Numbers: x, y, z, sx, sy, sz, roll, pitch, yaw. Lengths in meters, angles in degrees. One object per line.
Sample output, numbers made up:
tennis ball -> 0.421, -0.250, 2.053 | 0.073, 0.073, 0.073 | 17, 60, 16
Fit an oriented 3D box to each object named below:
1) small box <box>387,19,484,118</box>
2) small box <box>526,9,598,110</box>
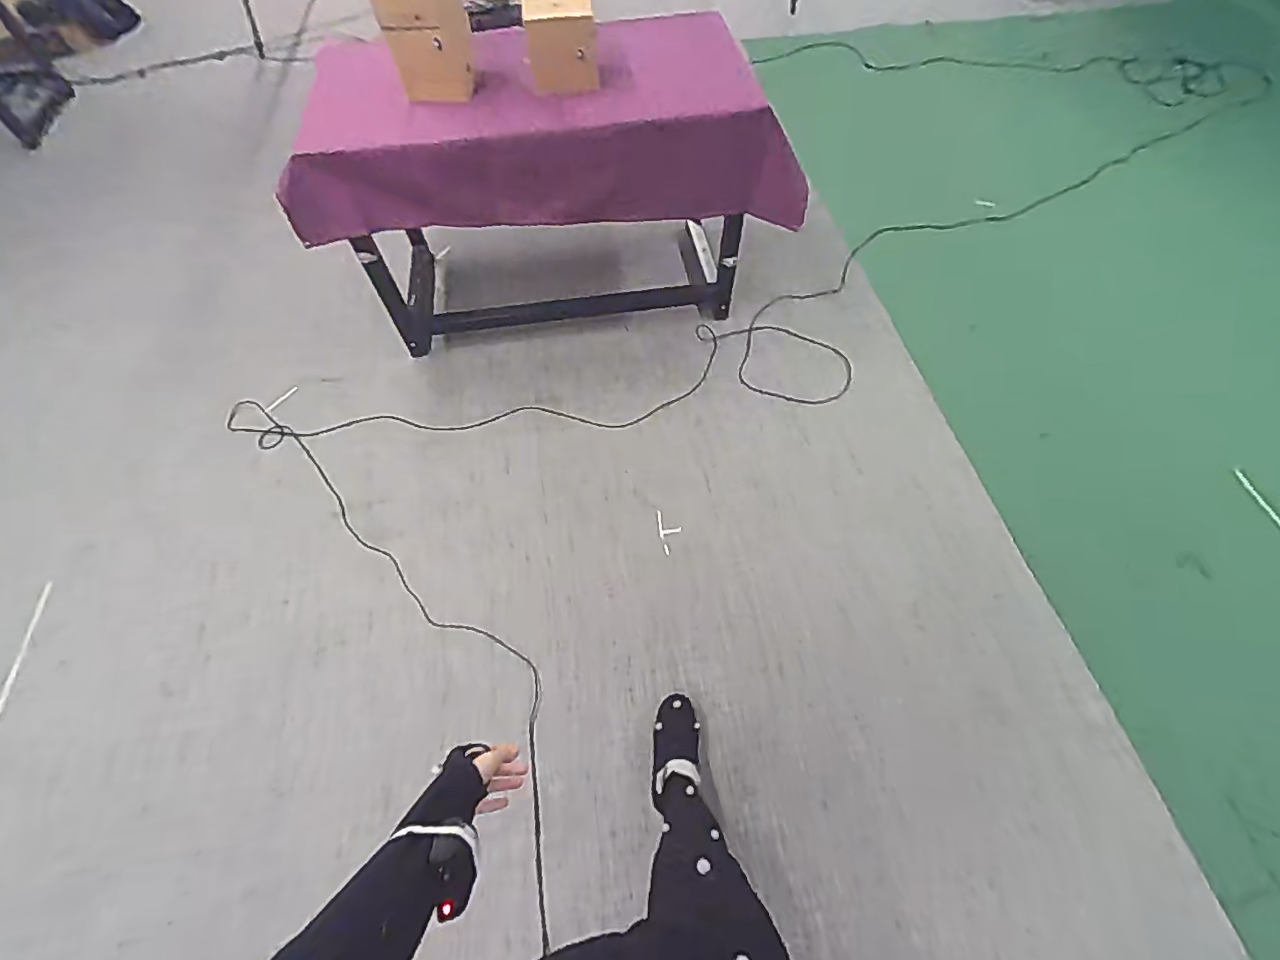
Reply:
small box -> -0.539, -1.101, 1.451 | 0.179, 0.176, 0.168 | 2, 58, 2
small box -> -0.207, -1.133, 1.462 | 0.179, 0.176, 0.168 | -6, 58, -2
